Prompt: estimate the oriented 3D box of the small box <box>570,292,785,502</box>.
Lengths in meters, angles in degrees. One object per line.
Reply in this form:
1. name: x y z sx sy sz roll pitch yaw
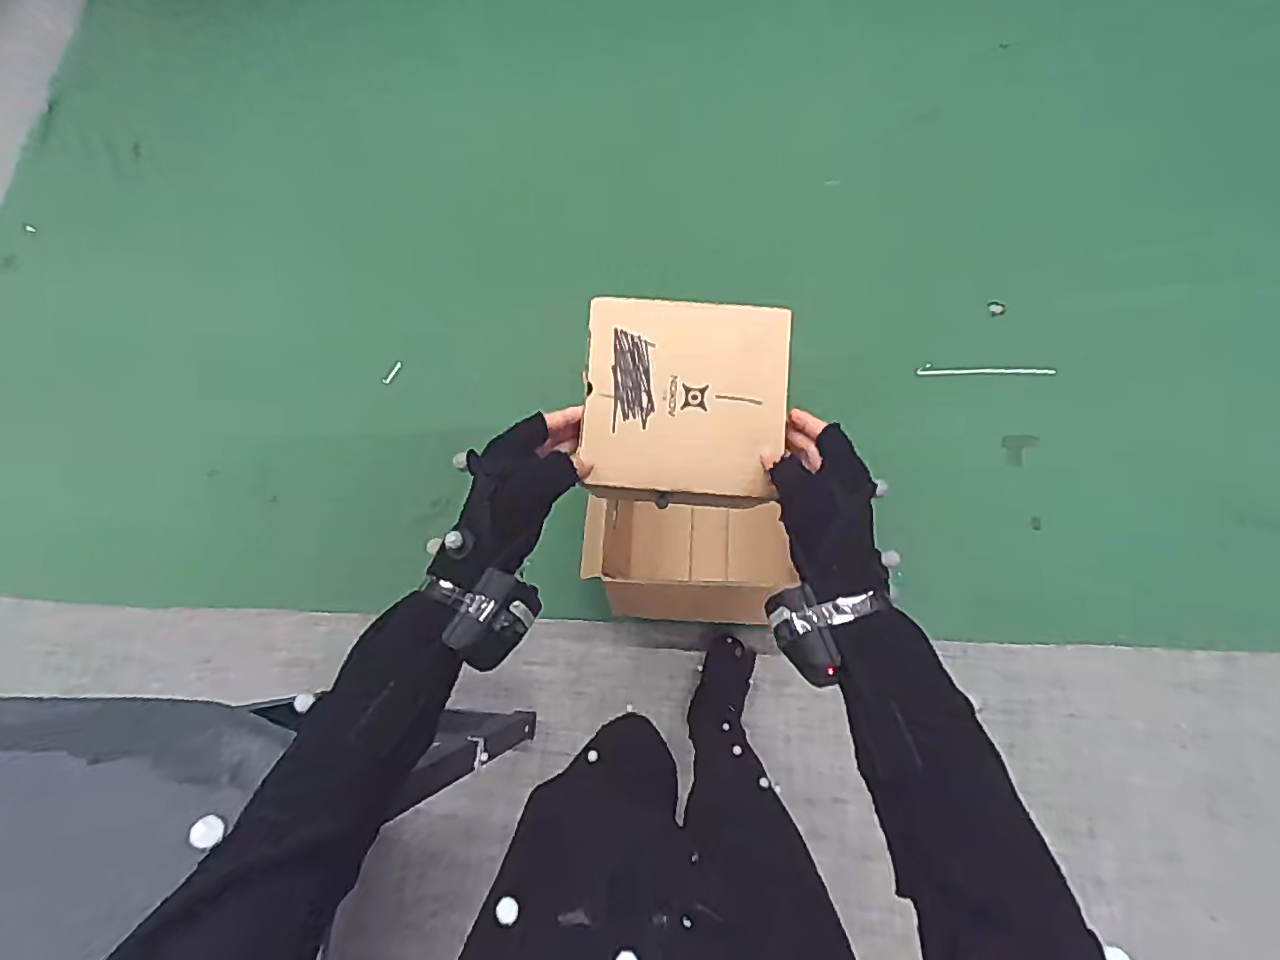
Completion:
1. small box: 0.035 -0.069 0.542 0.179 0.176 0.168 4 84 1
